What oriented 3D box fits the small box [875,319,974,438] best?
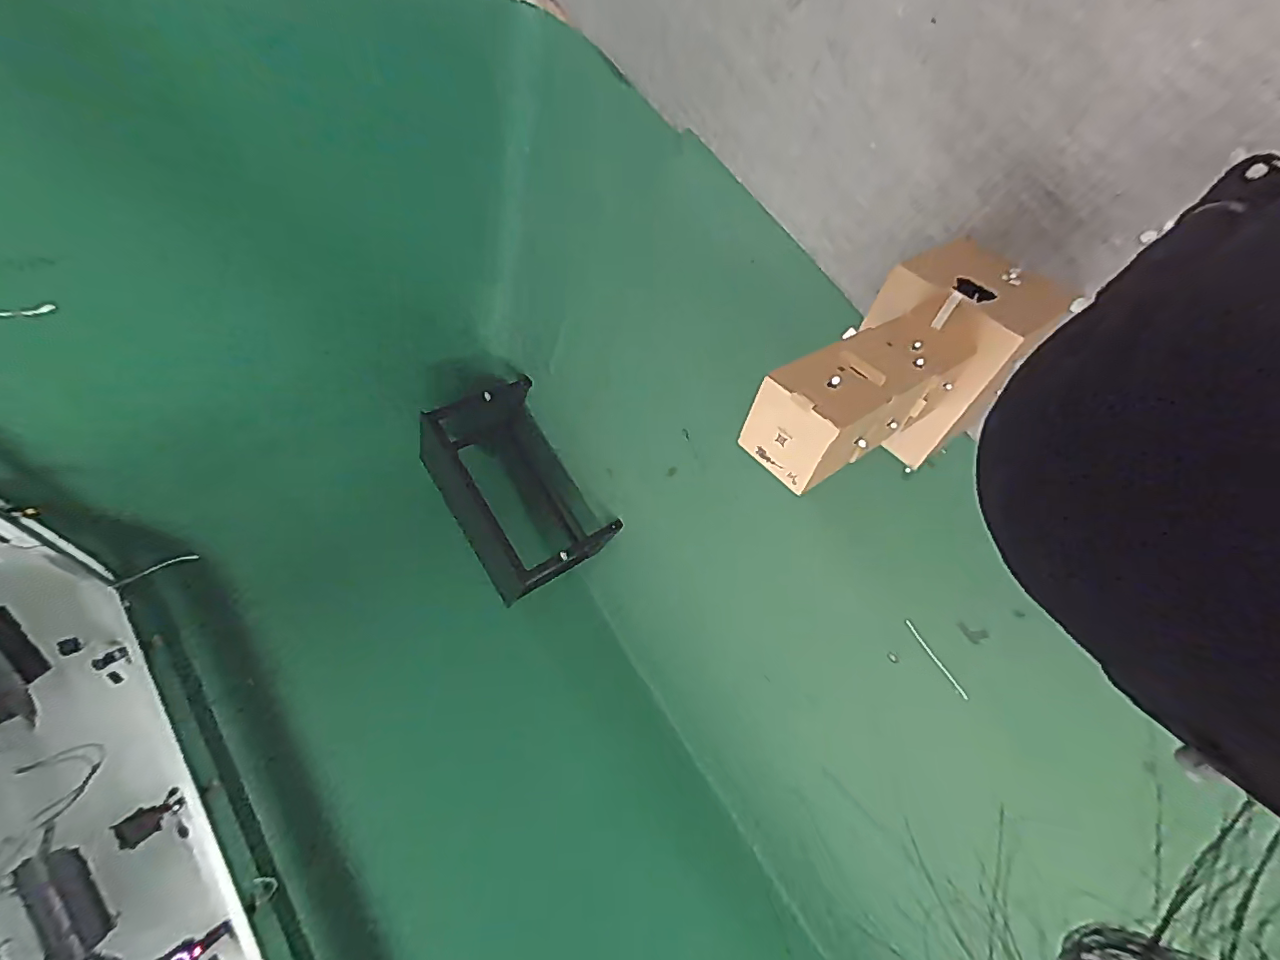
[{"bbox_3d":[0.576,-0.228,1.176,0.179,0.176,0.168,47,145,25],"label":"small box"}]

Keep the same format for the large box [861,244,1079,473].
[{"bbox_3d":[0.749,-0.303,1.338,0.320,0.320,0.408,47,147,27],"label":"large box"}]

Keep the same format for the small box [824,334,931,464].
[{"bbox_3d":[0.450,-0.169,1.091,0.168,0.176,0.179,46,145,26],"label":"small box"}]

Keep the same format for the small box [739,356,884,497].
[{"bbox_3d":[0.322,-0.106,1.009,0.168,0.176,0.179,47,144,26],"label":"small box"}]
